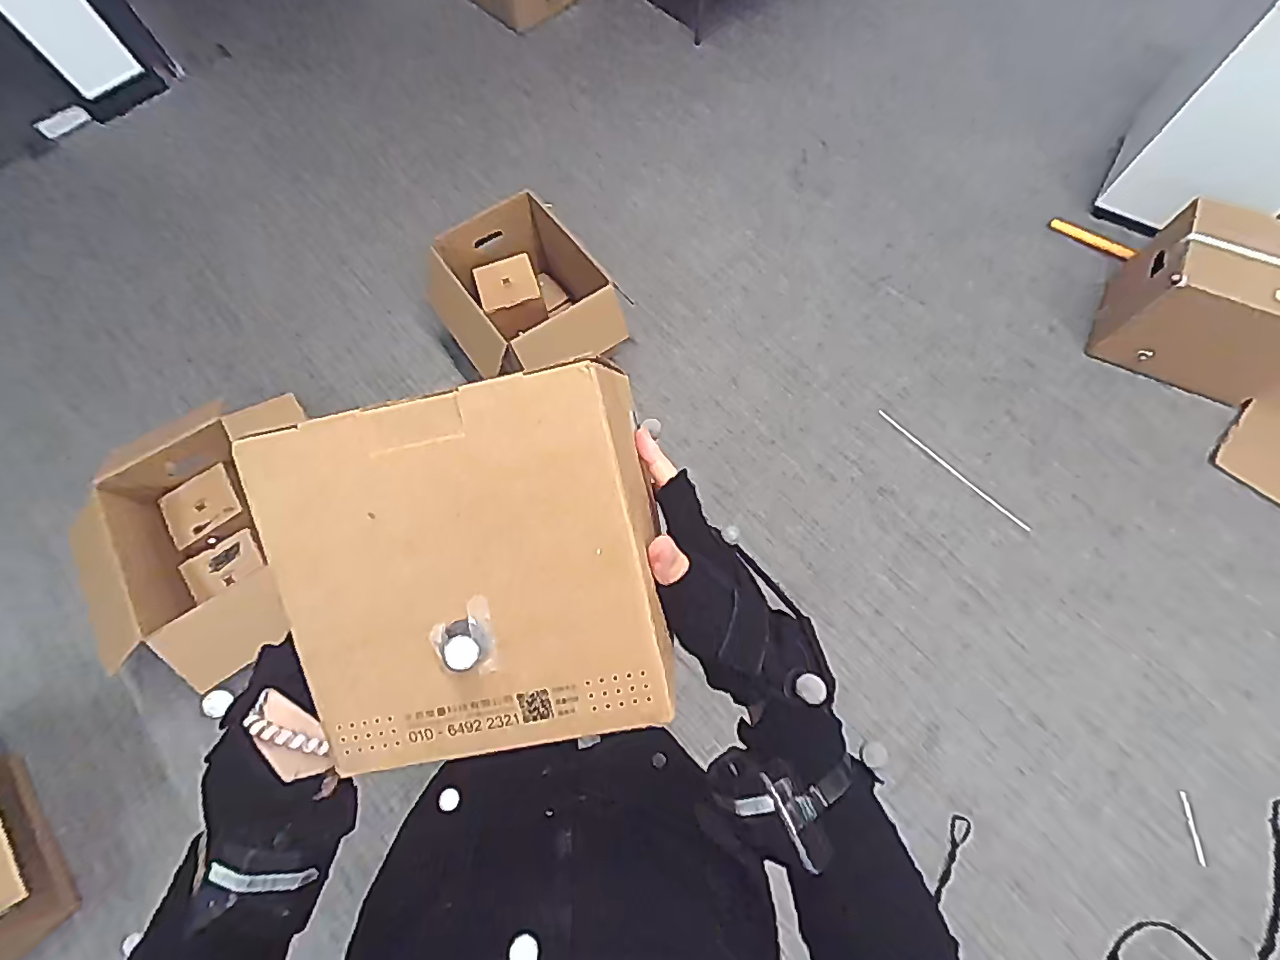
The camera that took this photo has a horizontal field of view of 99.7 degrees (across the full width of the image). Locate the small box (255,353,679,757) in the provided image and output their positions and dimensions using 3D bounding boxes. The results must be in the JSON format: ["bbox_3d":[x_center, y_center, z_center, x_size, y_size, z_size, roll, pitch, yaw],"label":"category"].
[{"bbox_3d":[-0.073,0.030,0.325,0.168,0.179,0.176,-12,98,5],"label":"small box"}]
